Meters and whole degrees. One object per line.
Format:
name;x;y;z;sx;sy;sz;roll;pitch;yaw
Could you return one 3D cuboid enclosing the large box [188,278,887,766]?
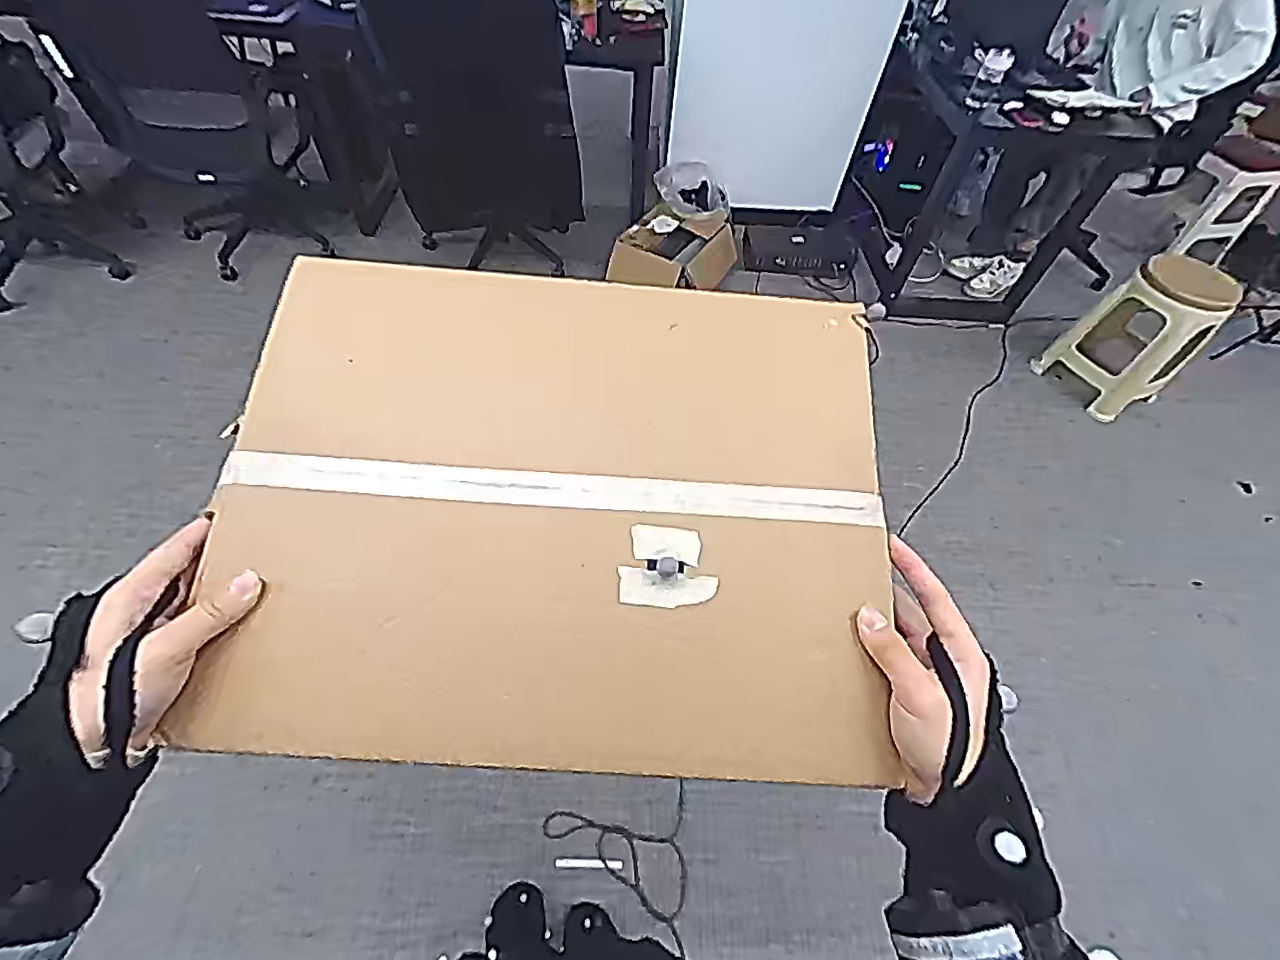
large box;-0.056;0.056;0.493;0.408;0.320;0.320;4;72;-2
